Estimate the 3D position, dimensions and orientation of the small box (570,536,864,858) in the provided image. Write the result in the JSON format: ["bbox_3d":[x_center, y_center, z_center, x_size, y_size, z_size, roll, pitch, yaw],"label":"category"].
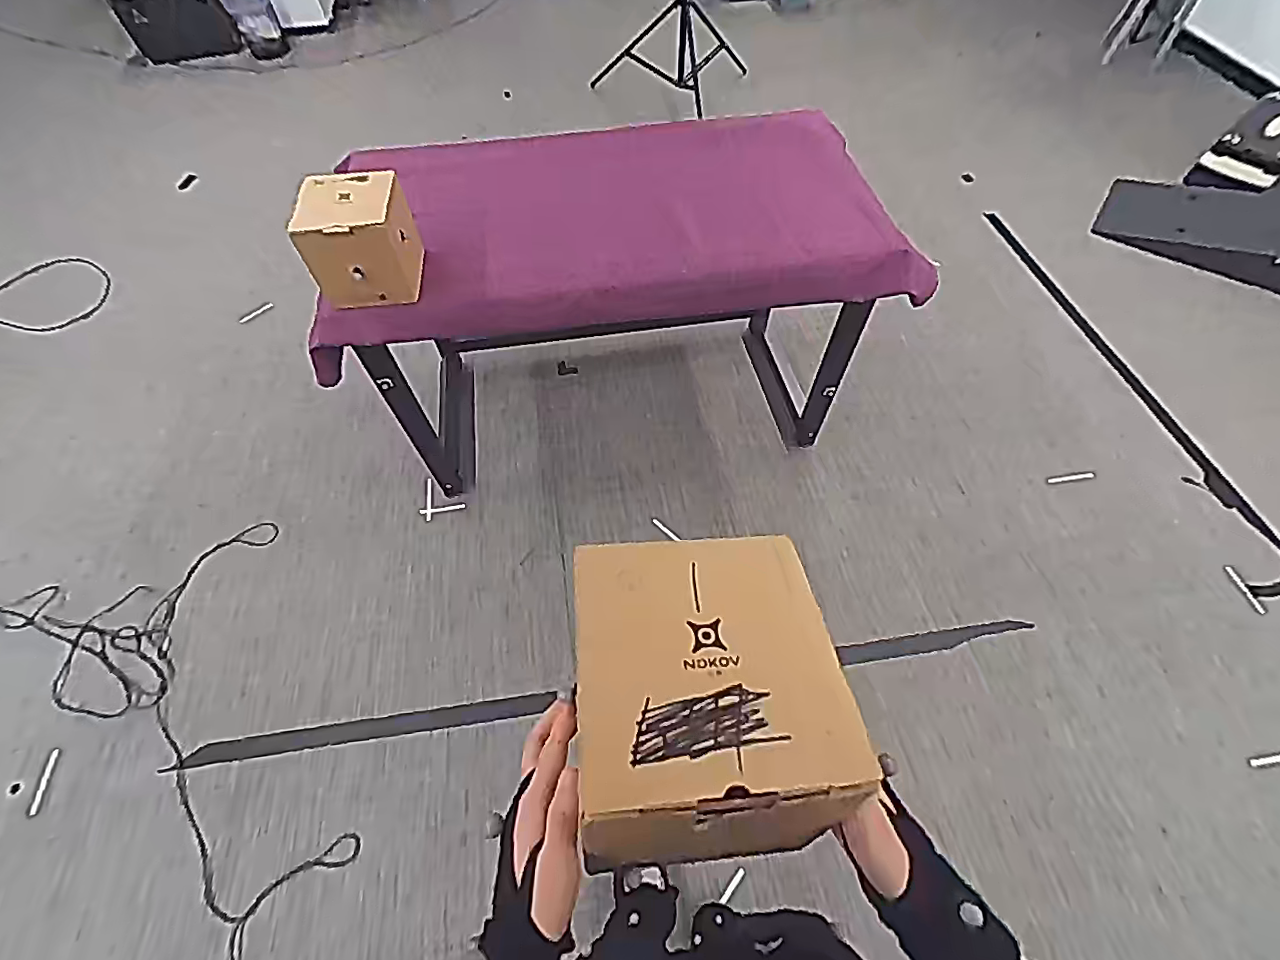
[{"bbox_3d":[0.034,0.164,0.406,0.168,0.176,0.179,-2,45,-6],"label":"small box"}]

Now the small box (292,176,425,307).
[{"bbox_3d":[-0.526,-0.449,1.039,0.168,0.176,0.179,-6,59,-4],"label":"small box"}]
